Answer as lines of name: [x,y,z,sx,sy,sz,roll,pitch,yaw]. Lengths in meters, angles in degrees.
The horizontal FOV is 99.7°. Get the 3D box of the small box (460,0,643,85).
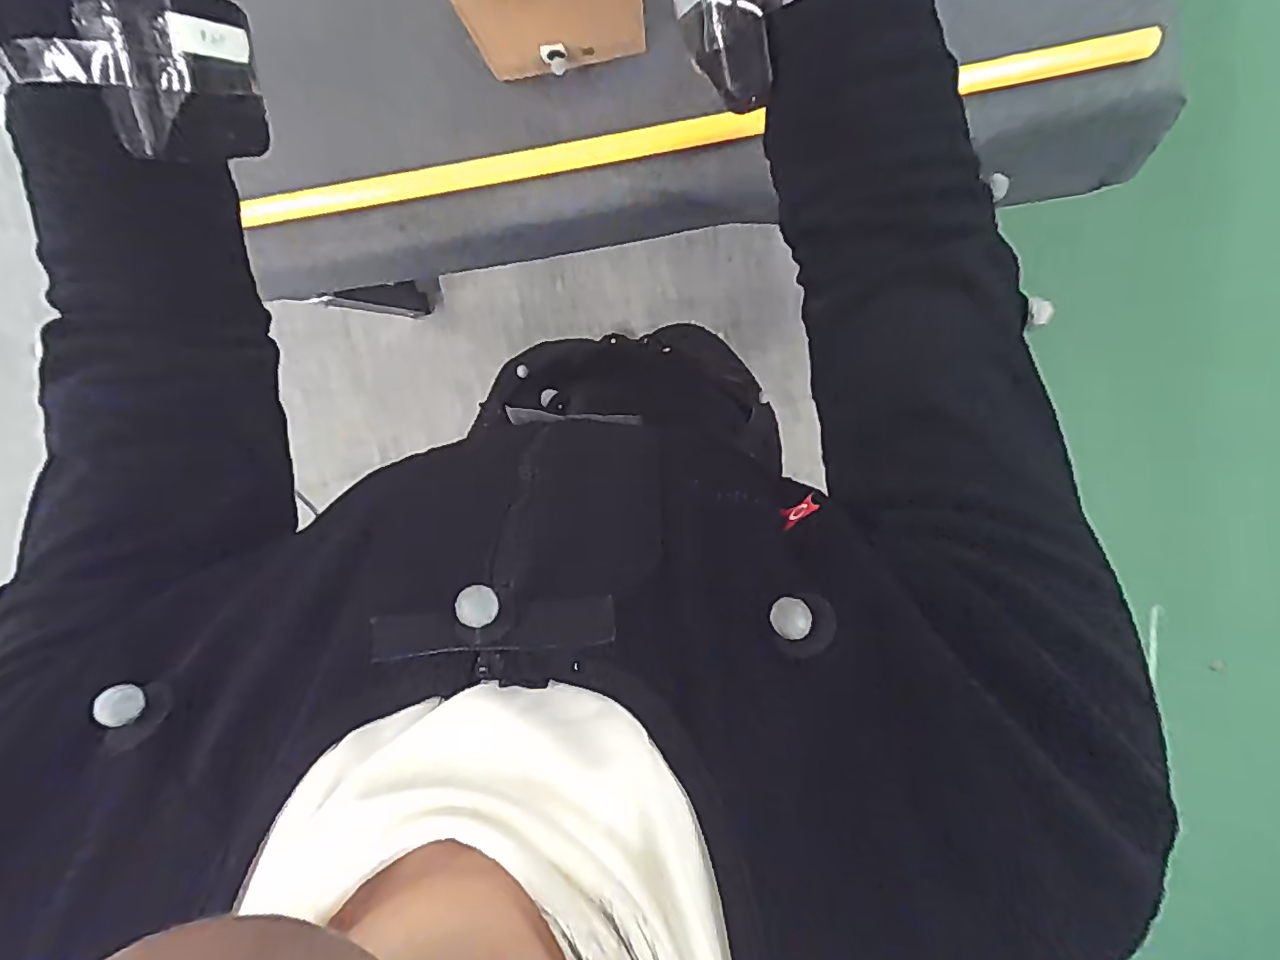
small box: [-0.093,-0.517,0.501,0.168,0.176,0.179,-10,103,5]
